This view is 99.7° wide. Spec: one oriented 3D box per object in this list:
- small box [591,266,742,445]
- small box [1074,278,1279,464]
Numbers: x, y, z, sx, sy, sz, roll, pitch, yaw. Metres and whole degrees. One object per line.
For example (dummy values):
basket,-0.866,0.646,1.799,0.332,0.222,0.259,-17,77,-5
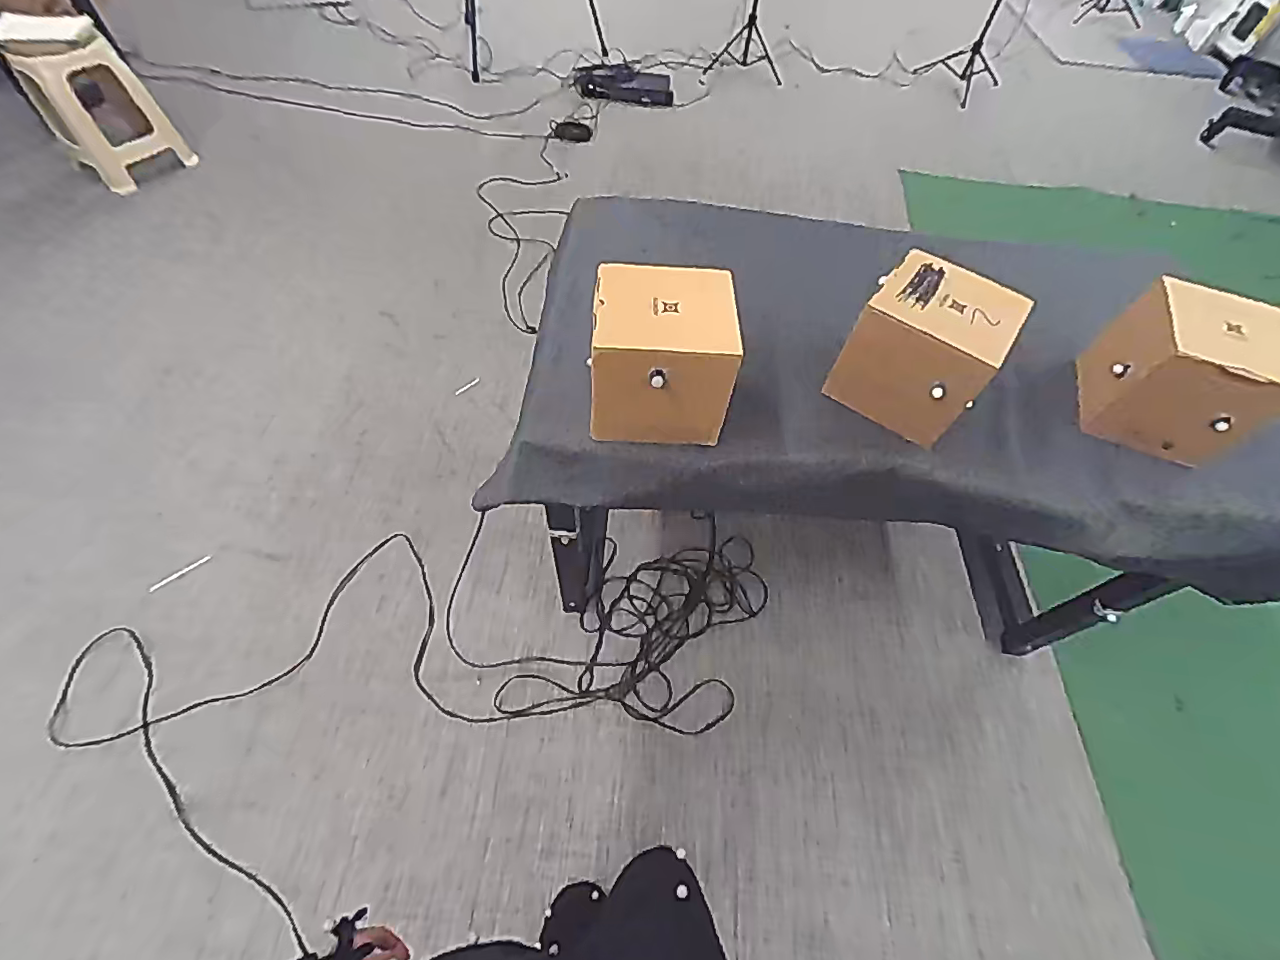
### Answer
small box,0.027,-0.161,0.727,0.179,0.176,0.168,2,54,-2
small box,0.772,-0.151,0.780,0.168,0.176,0.179,21,56,9
